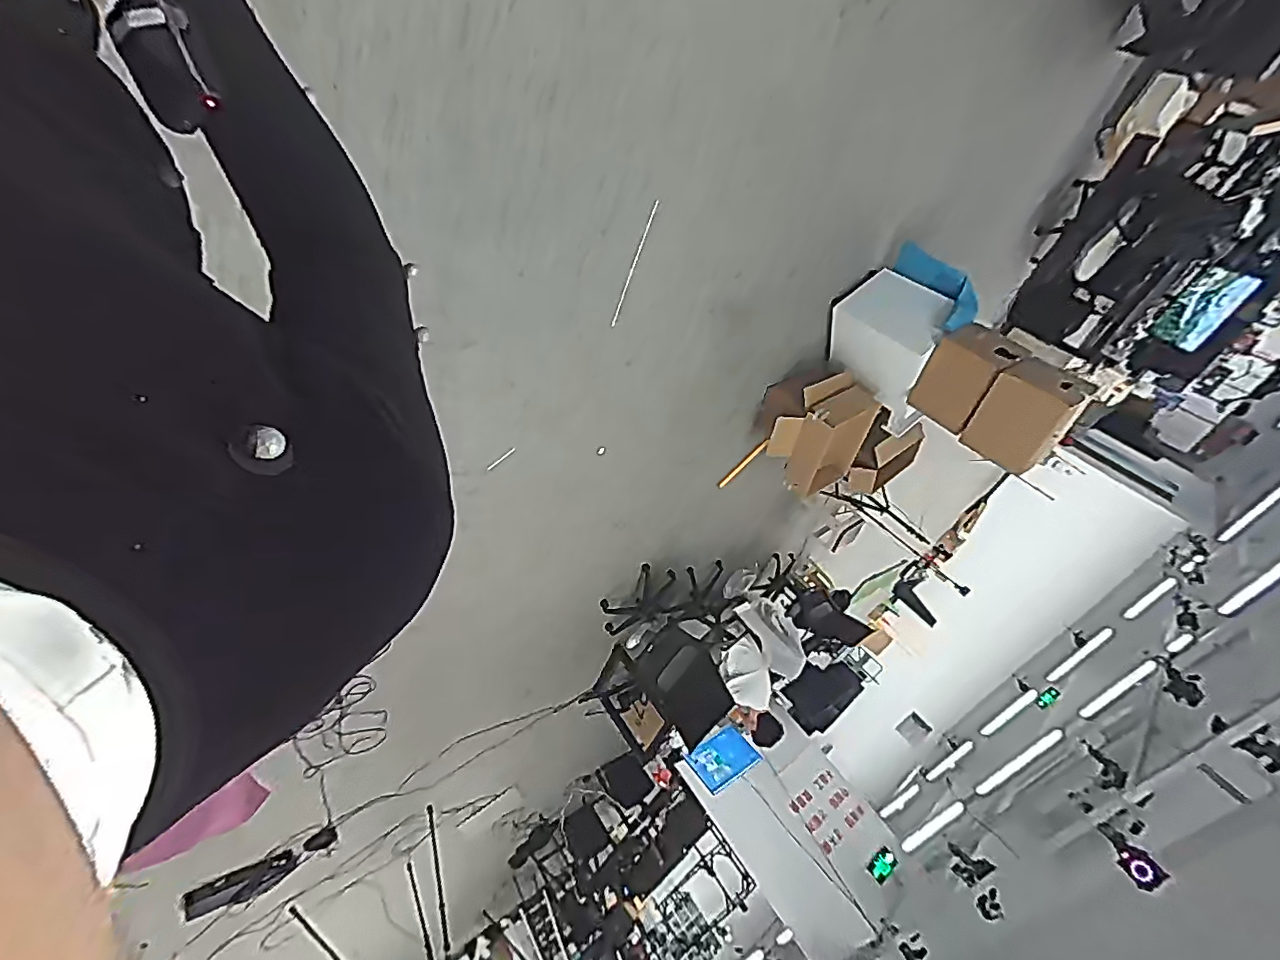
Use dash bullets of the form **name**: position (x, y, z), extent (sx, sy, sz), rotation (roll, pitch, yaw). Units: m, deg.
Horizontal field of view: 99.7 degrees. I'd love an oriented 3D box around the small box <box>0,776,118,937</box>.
- **small box**: position (-1.137, 0.719, 1.044), extent (0.179, 0.176, 0.168), rotation (-6, 133, -43)
